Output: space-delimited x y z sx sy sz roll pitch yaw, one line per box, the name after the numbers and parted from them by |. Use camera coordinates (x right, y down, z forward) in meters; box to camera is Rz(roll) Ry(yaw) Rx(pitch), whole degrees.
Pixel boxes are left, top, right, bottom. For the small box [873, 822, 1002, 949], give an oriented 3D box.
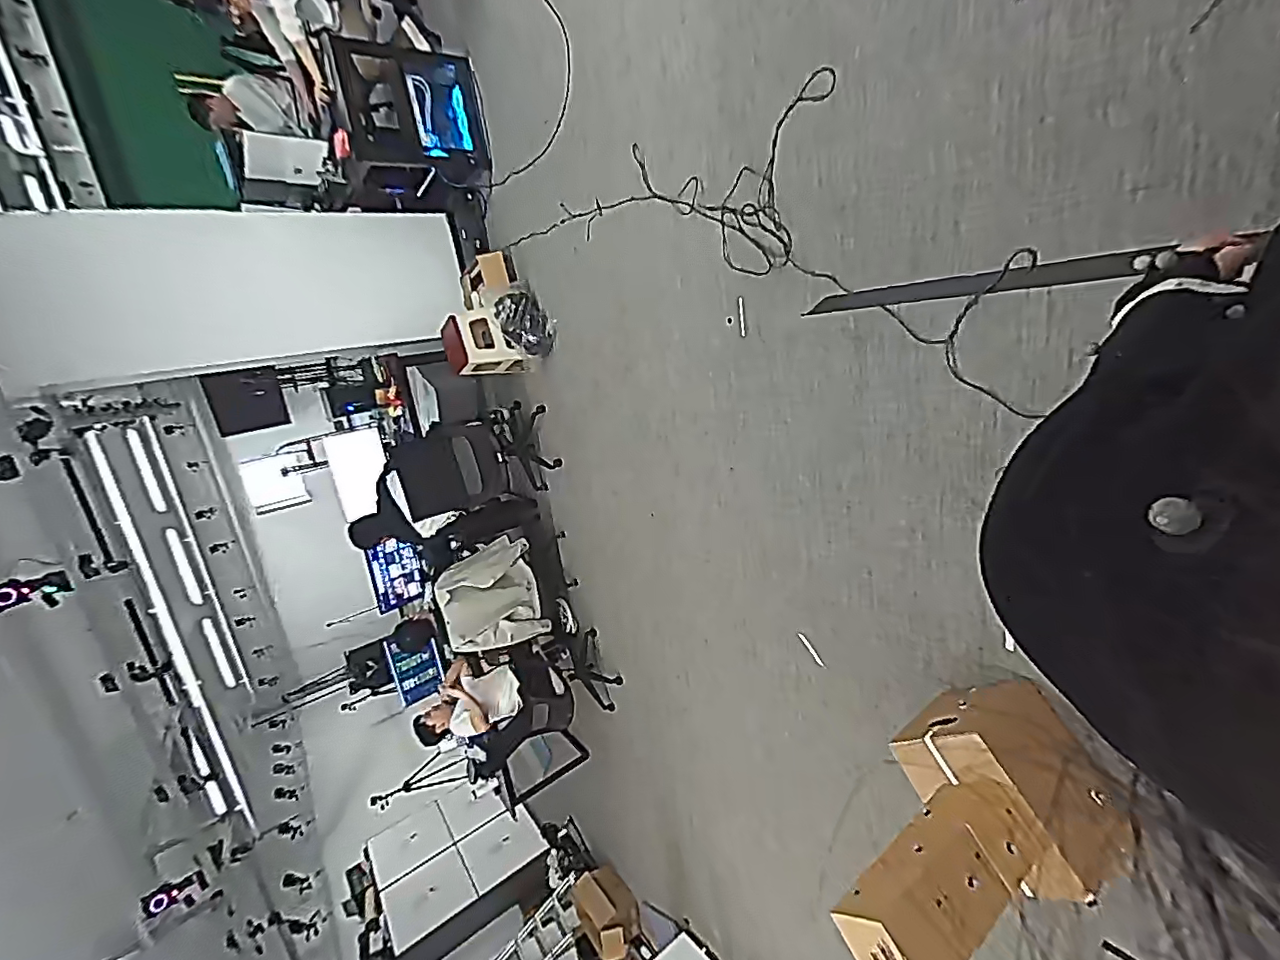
0.688 0.916 1.242 0.168 0.176 0.179 60 146 18 | small box

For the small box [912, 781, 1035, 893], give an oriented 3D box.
0.821 0.864 1.323 0.168 0.176 0.179 60 146 18 | small box
